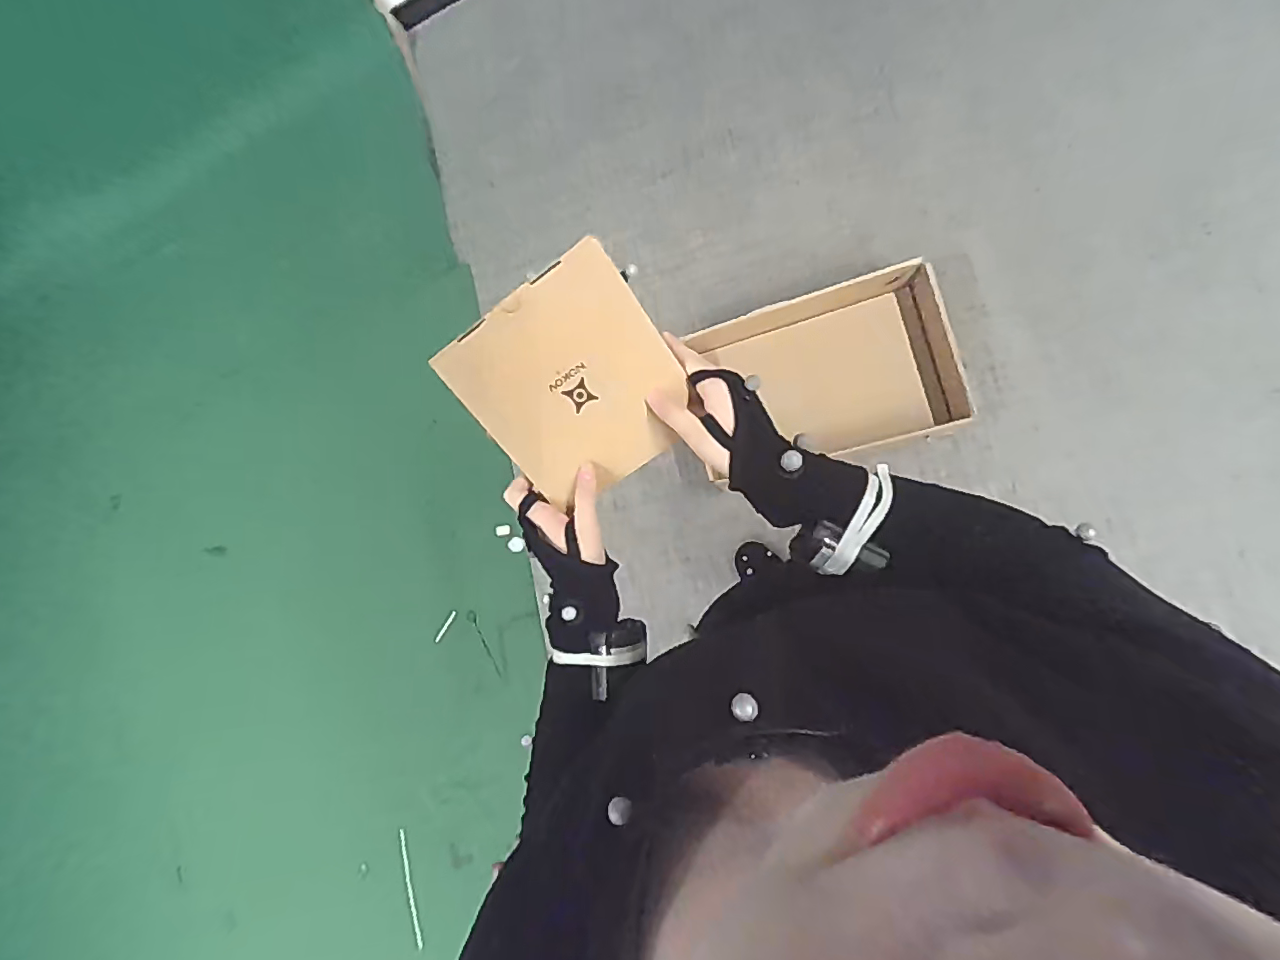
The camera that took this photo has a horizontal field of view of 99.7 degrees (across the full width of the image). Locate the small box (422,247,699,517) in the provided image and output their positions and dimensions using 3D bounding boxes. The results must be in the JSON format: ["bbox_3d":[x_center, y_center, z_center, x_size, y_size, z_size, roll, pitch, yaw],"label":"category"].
[{"bbox_3d":[-0.066,-0.103,0.521,0.168,0.176,0.179,-34,111,10],"label":"small box"}]
